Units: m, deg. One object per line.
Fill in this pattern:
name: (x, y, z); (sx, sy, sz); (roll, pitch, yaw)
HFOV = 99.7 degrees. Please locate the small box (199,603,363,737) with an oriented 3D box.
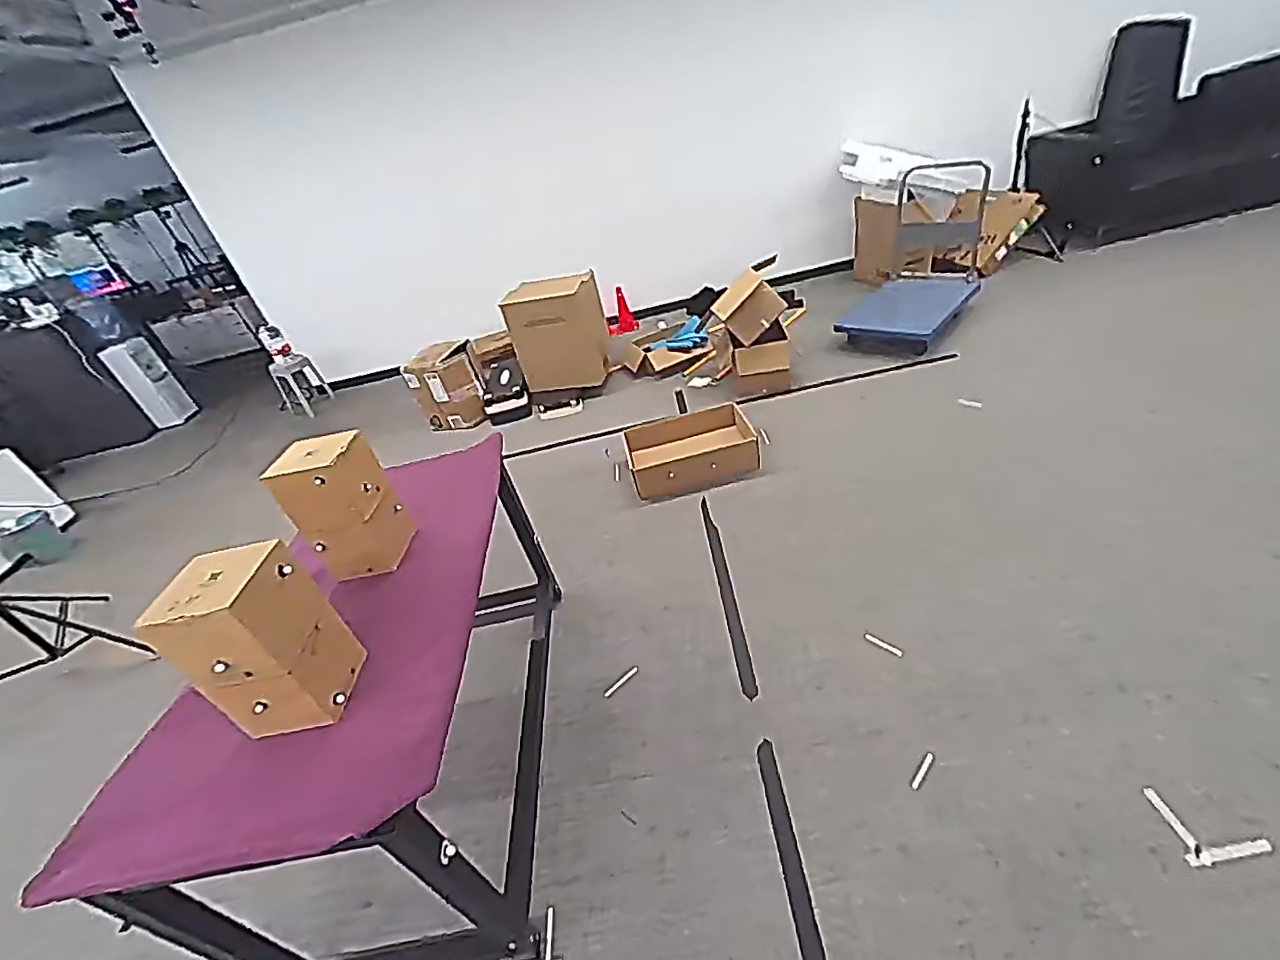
small box: (-0.679, 0.370, 1.052); (0.179, 0.176, 0.168); (-12, 33, 4)

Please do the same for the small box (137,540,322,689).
small box: (-0.703, 0.236, 0.958); (0.168, 0.176, 0.179); (-12, 33, 3)

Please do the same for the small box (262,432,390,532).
small box: (-0.747, 0.008, 1.308); (0.179, 0.176, 0.168); (-10, 34, 6)
